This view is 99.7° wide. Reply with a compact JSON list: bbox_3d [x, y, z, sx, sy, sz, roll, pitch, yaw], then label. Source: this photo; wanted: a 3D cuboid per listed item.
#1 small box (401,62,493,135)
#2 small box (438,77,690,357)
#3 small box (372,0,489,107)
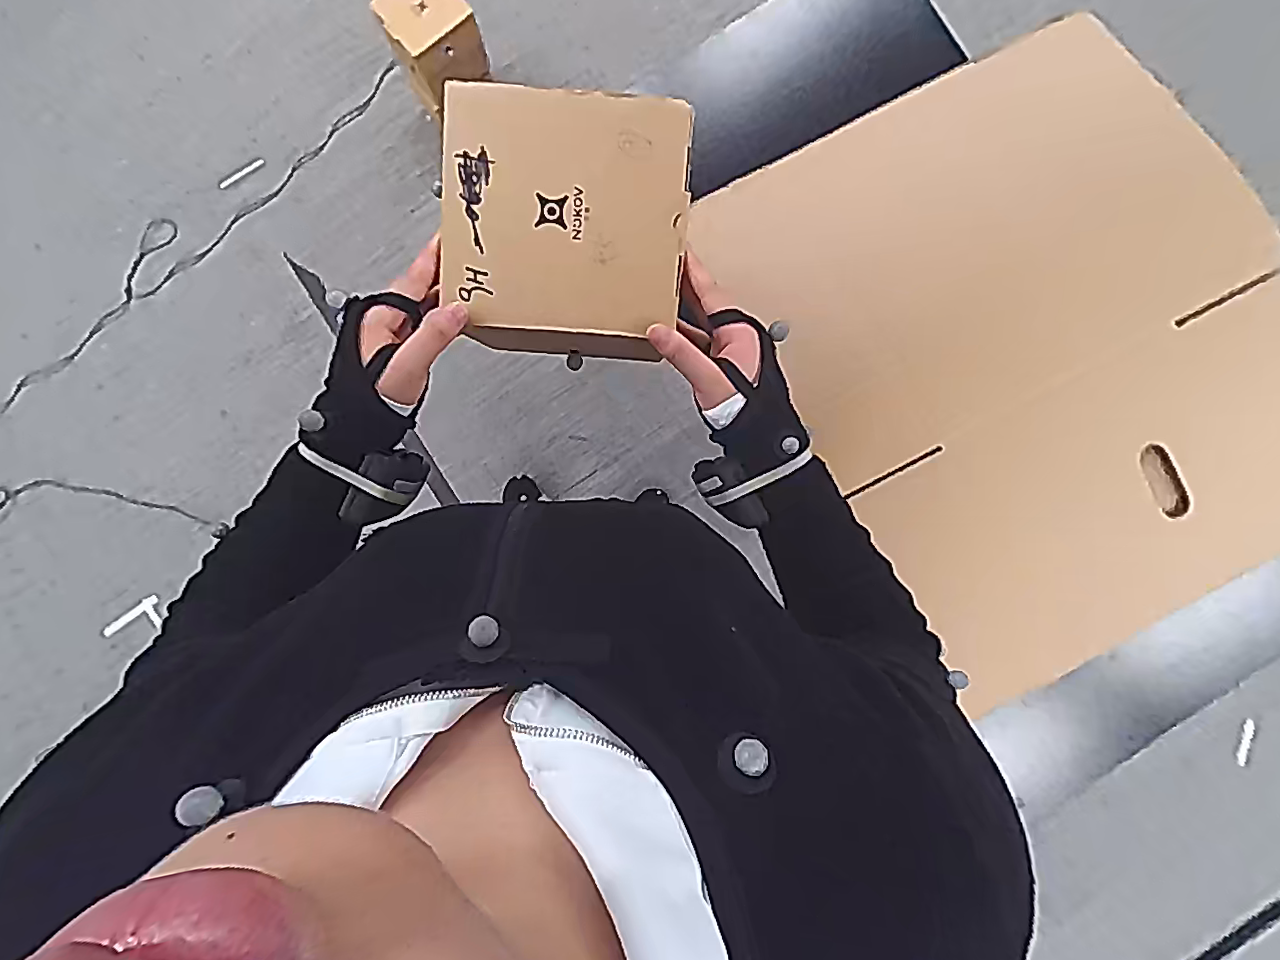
[{"bbox_3d":[-0.500,-1.050,1.465,0.179,0.176,0.168,-37,89,-1],"label":"small box"},{"bbox_3d":[-0.060,-0.203,0.469,0.179,0.176,0.168,3,95,-3],"label":"small box"},{"bbox_3d":[-0.493,-1.059,1.302,0.179,0.176,0.168,-39,89,-2],"label":"small box"}]
